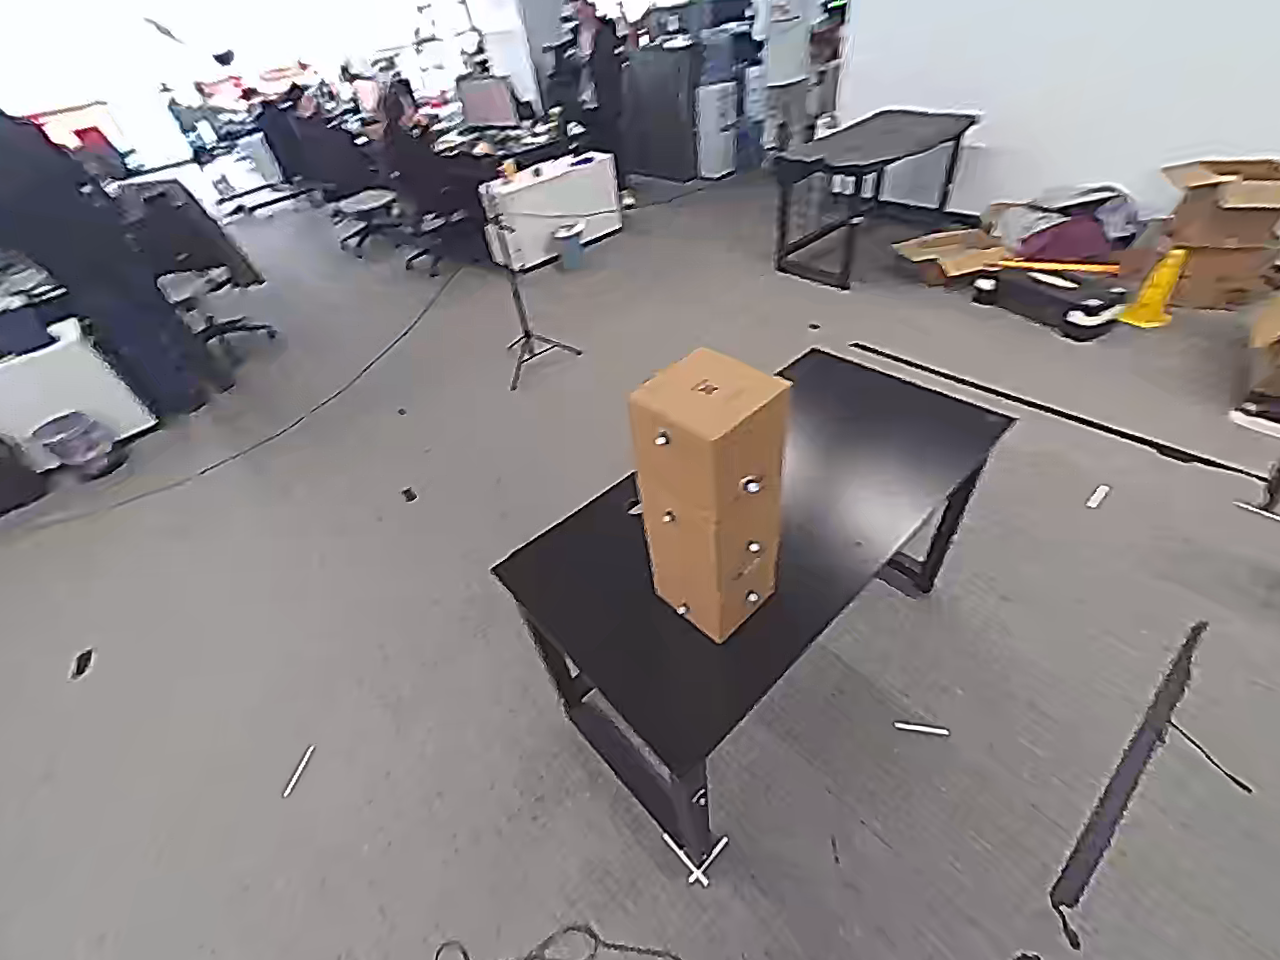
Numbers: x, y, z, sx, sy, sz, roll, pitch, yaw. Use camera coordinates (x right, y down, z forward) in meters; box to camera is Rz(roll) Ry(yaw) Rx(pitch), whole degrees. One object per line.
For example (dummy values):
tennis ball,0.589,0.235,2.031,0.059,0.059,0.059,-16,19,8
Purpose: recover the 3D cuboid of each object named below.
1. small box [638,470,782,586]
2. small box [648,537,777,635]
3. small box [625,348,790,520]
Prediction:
small box,0.120,0.049,0.927,0.168,0.176,0.179,-36,49,-26
small box,0.139,0.170,1.037,0.168,0.176,0.179,-36,50,-27
small box,0.102,-0.070,0.817,0.168,0.176,0.179,-37,50,-26
